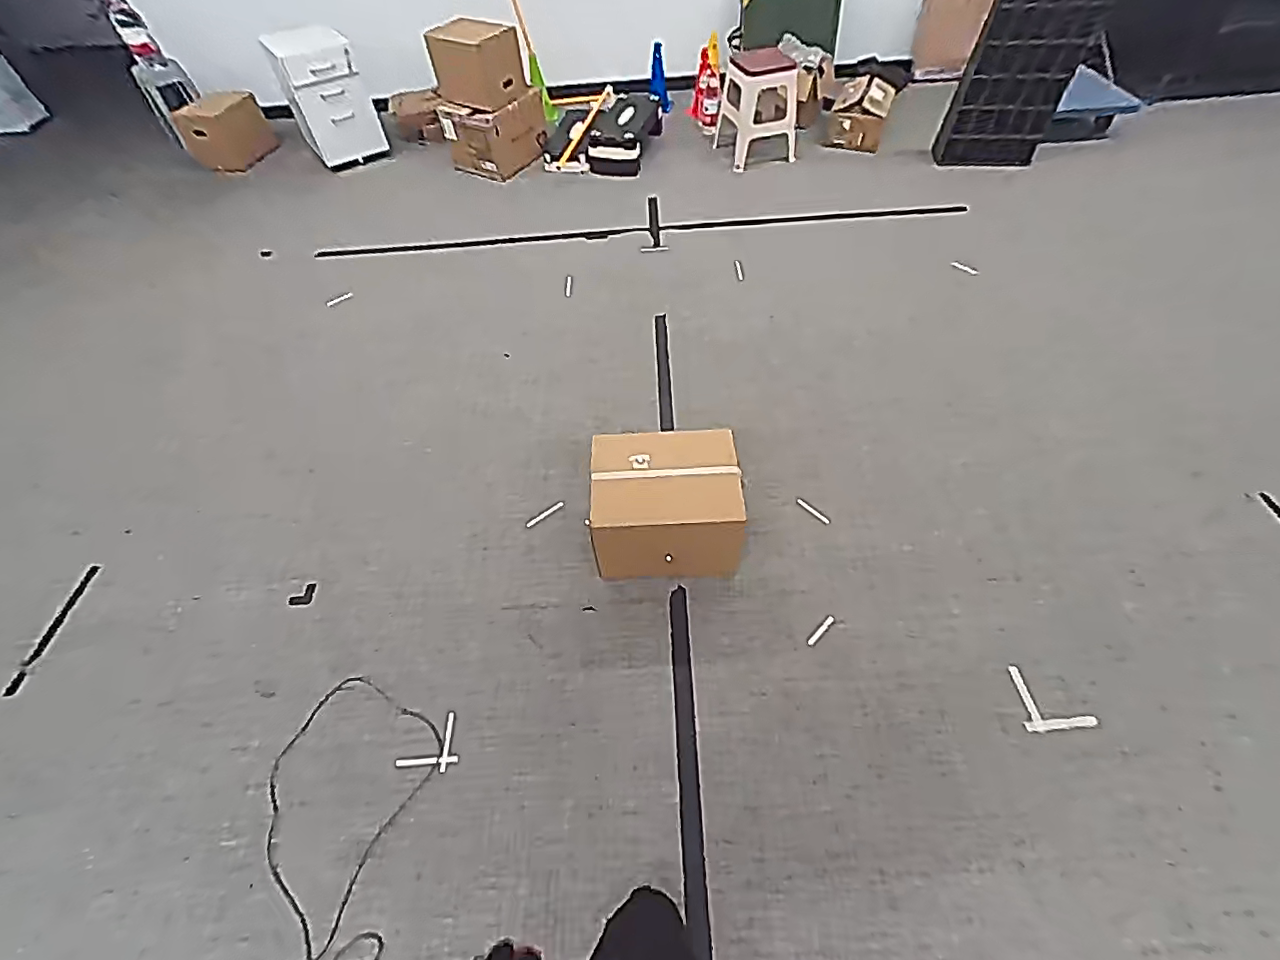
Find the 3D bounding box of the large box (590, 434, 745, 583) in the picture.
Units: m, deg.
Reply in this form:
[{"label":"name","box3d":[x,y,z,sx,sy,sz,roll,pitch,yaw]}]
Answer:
[{"label":"large box","box3d":[0.076,0.090,1.589,0.408,0.320,0.320,-4,53,2]}]
